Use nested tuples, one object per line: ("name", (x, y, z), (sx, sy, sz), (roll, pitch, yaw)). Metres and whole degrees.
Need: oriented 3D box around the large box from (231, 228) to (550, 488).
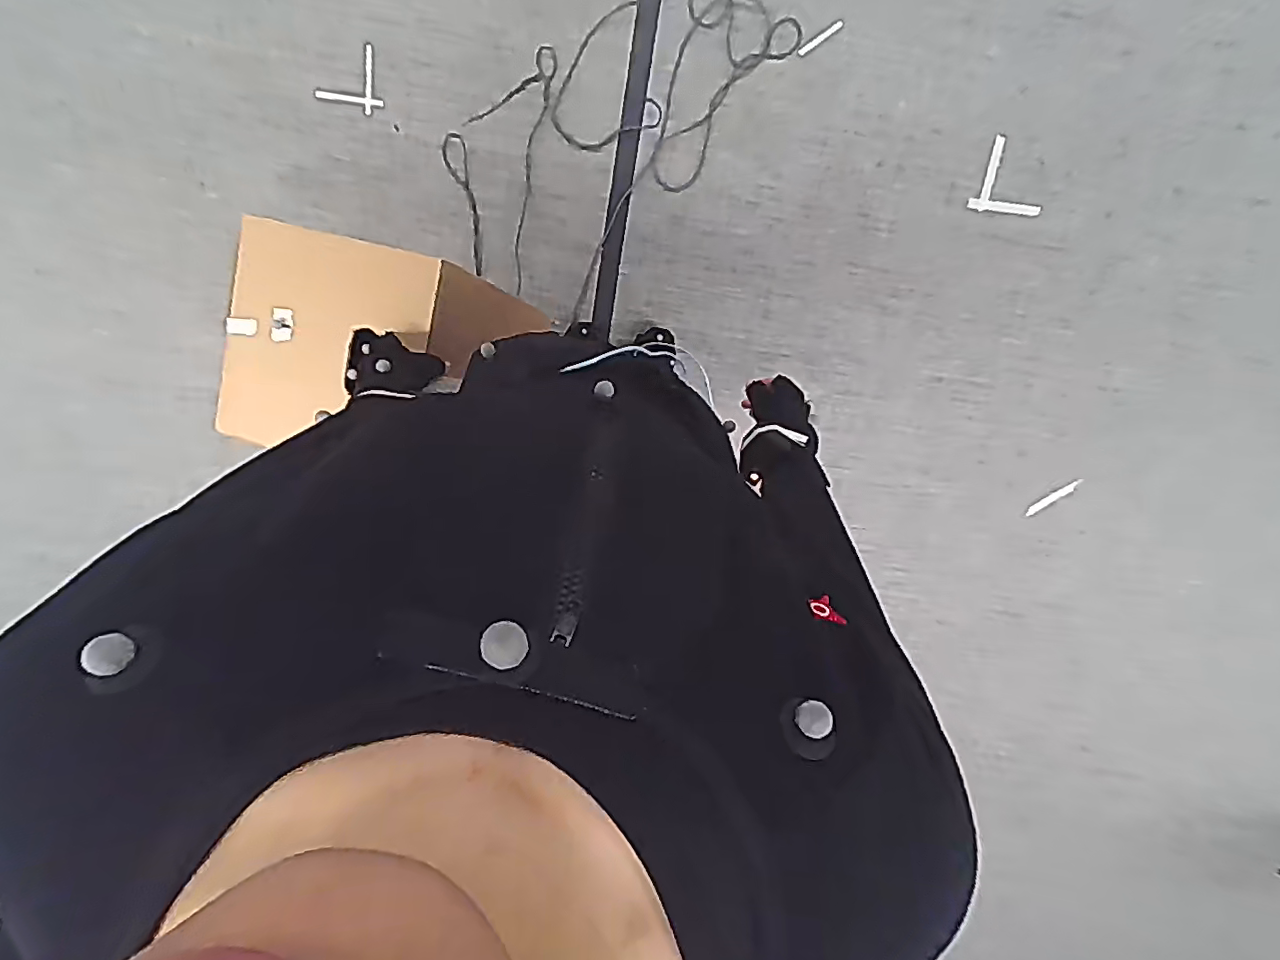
("large box", (-0.400, -0.198, 0.945), (0.320, 0.408, 0.320), (17, 100, 9))
